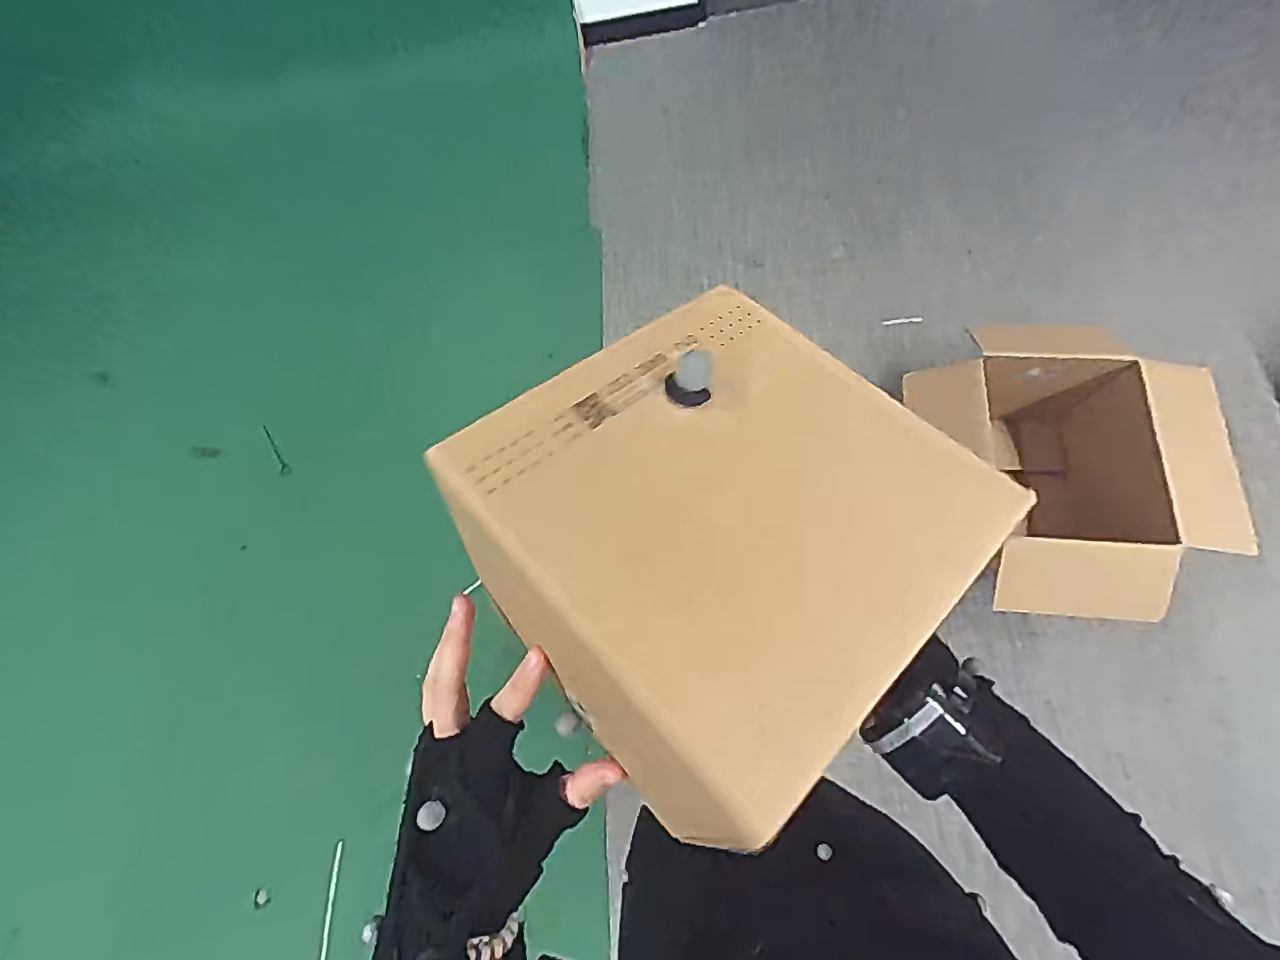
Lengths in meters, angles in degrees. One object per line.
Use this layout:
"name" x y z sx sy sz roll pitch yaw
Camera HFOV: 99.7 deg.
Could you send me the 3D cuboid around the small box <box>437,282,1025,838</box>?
"small box" 0.028 0.039 0.275 0.168 0.179 0.176 -37 68 -22
